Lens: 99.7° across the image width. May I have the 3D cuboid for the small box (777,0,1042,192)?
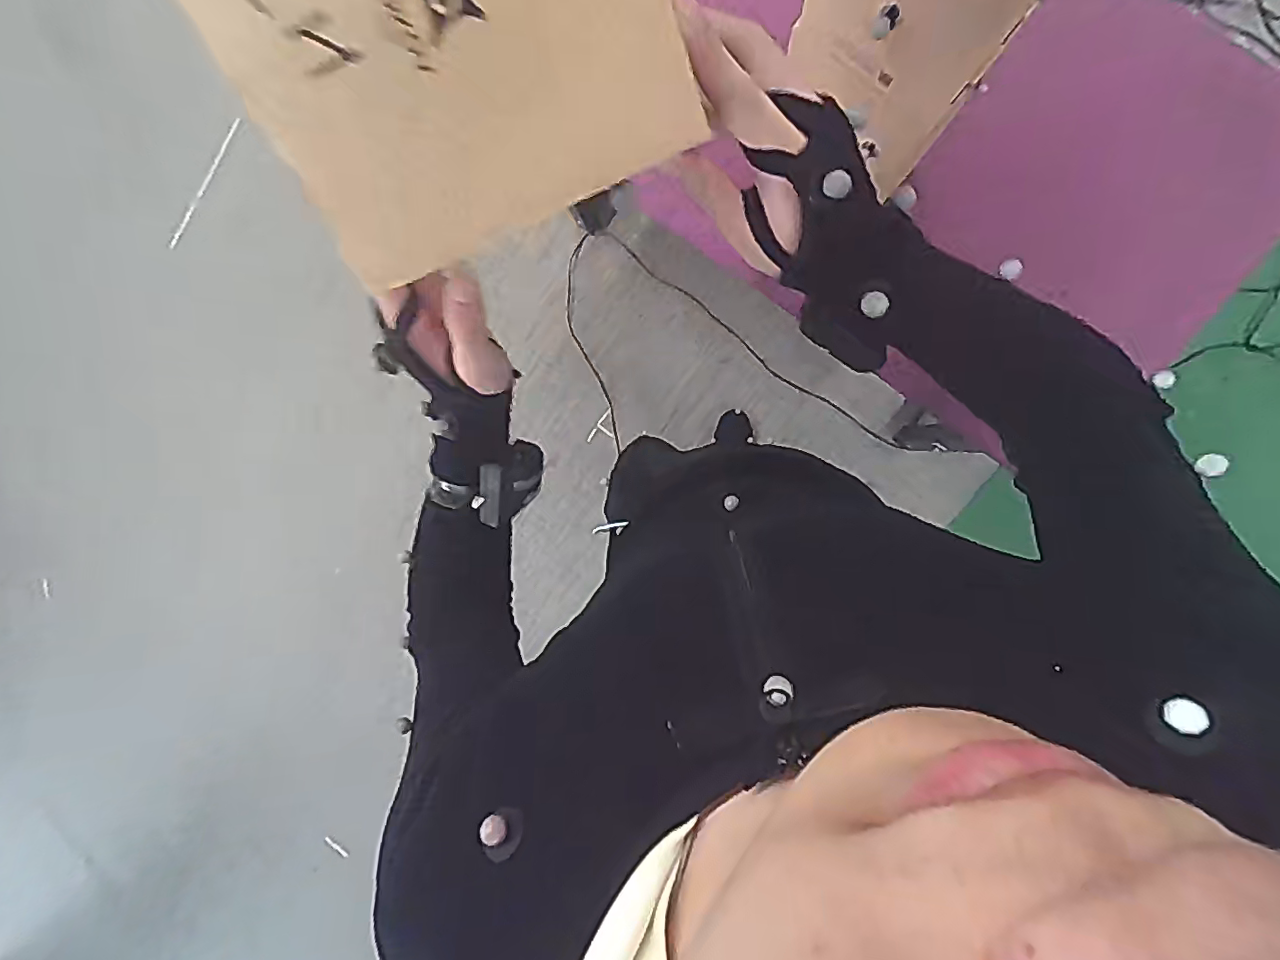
[{"bbox_3d":[0.278,-0.461,0.606,0.179,0.176,0.168,41,97,3],"label":"small box"}]

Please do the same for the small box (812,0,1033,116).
[{"bbox_3d":[0.263,-0.457,0.443,0.168,0.176,0.179,40,97,3],"label":"small box"}]
